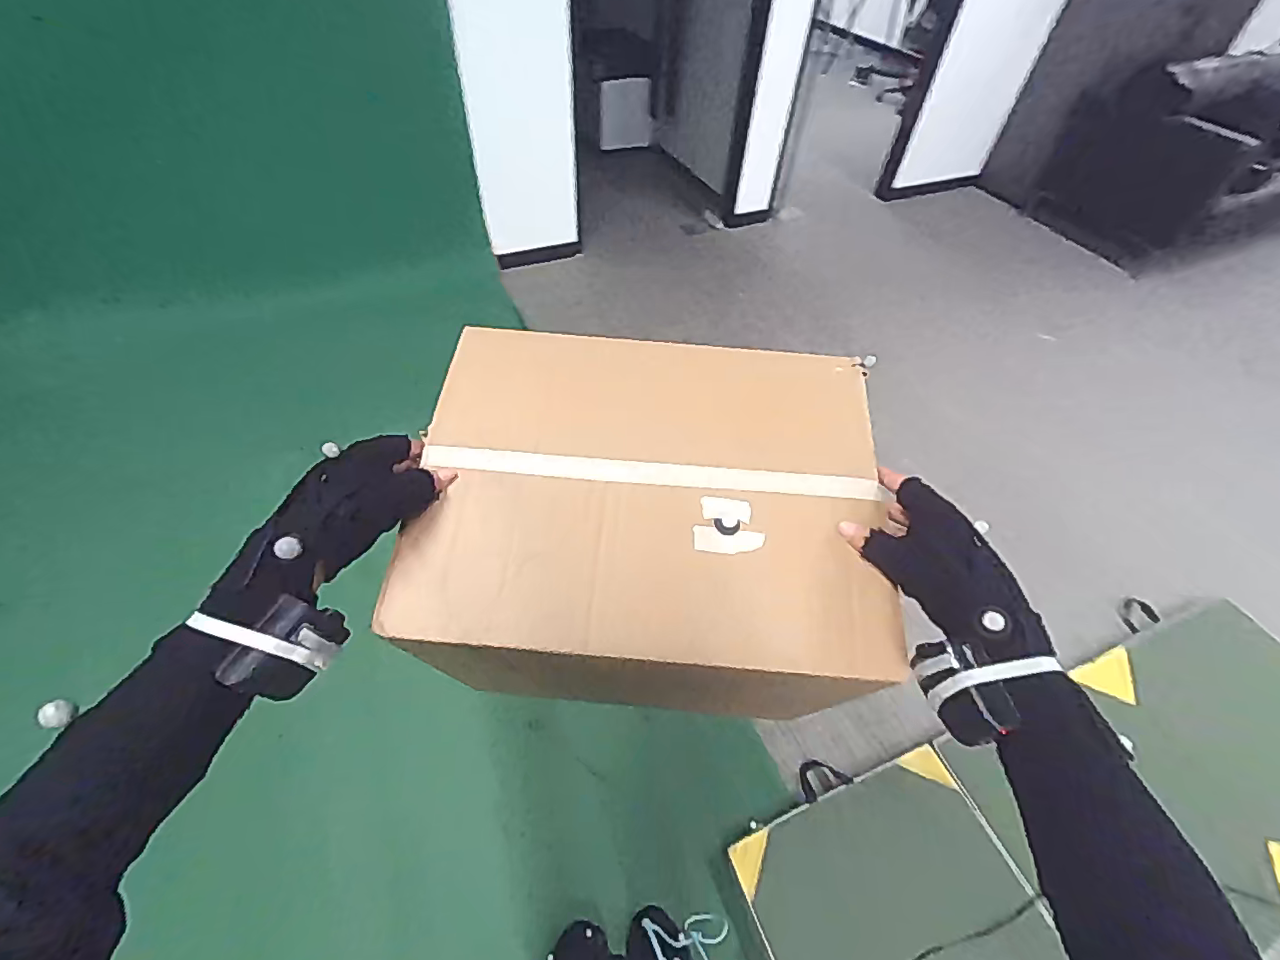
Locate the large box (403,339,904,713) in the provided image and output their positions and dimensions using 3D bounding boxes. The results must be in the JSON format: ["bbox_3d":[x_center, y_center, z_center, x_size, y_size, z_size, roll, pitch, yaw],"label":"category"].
[{"bbox_3d":[0.013,0.073,0.621,0.408,0.320,0.320,6,62,0],"label":"large box"}]
